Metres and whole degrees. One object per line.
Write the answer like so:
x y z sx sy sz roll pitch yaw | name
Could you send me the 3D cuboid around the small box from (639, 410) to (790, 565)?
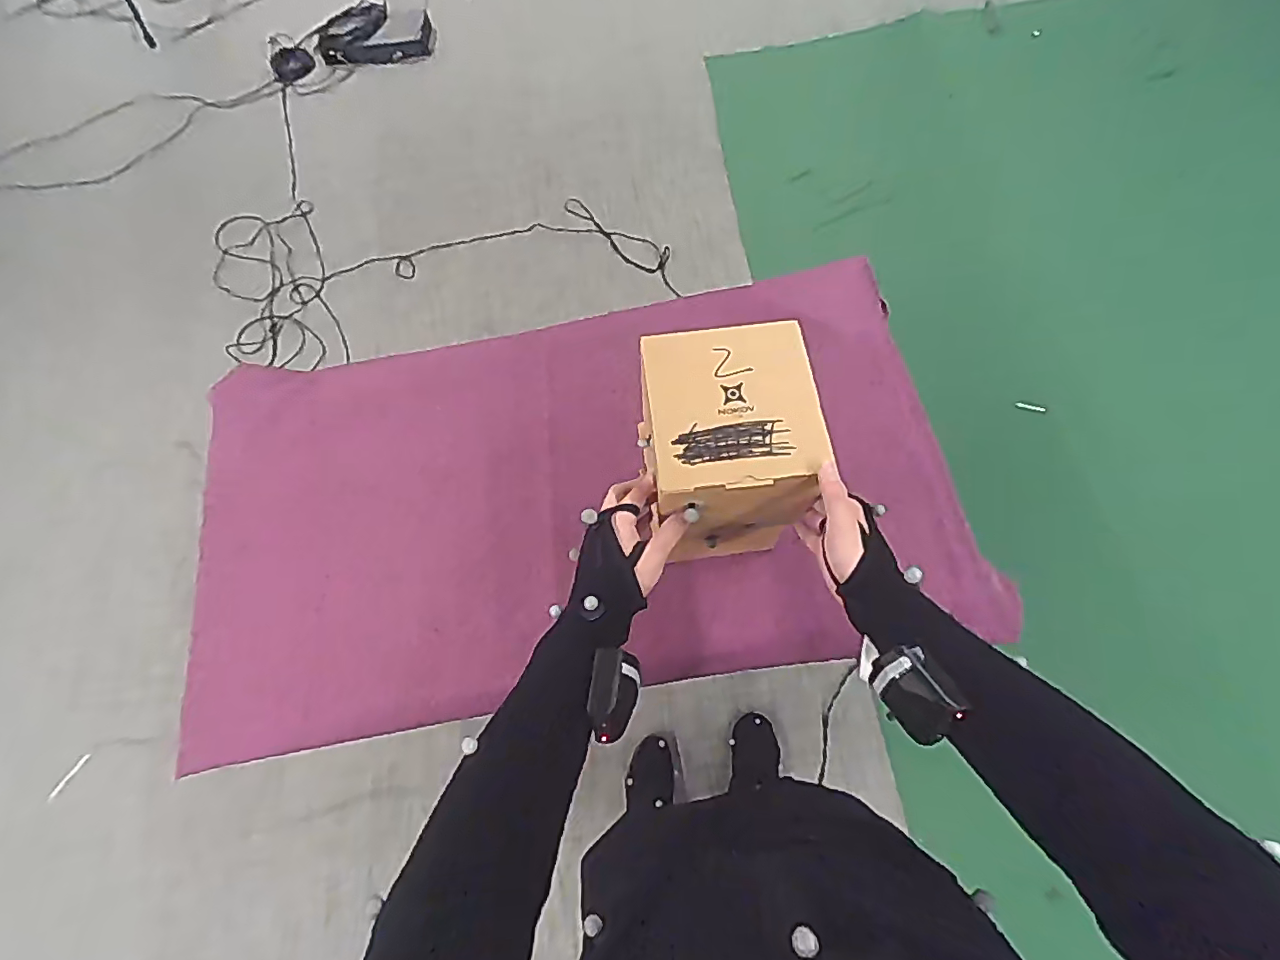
0.101 0.020 0.778 0.179 0.176 0.168 -8 70 2 | small box
